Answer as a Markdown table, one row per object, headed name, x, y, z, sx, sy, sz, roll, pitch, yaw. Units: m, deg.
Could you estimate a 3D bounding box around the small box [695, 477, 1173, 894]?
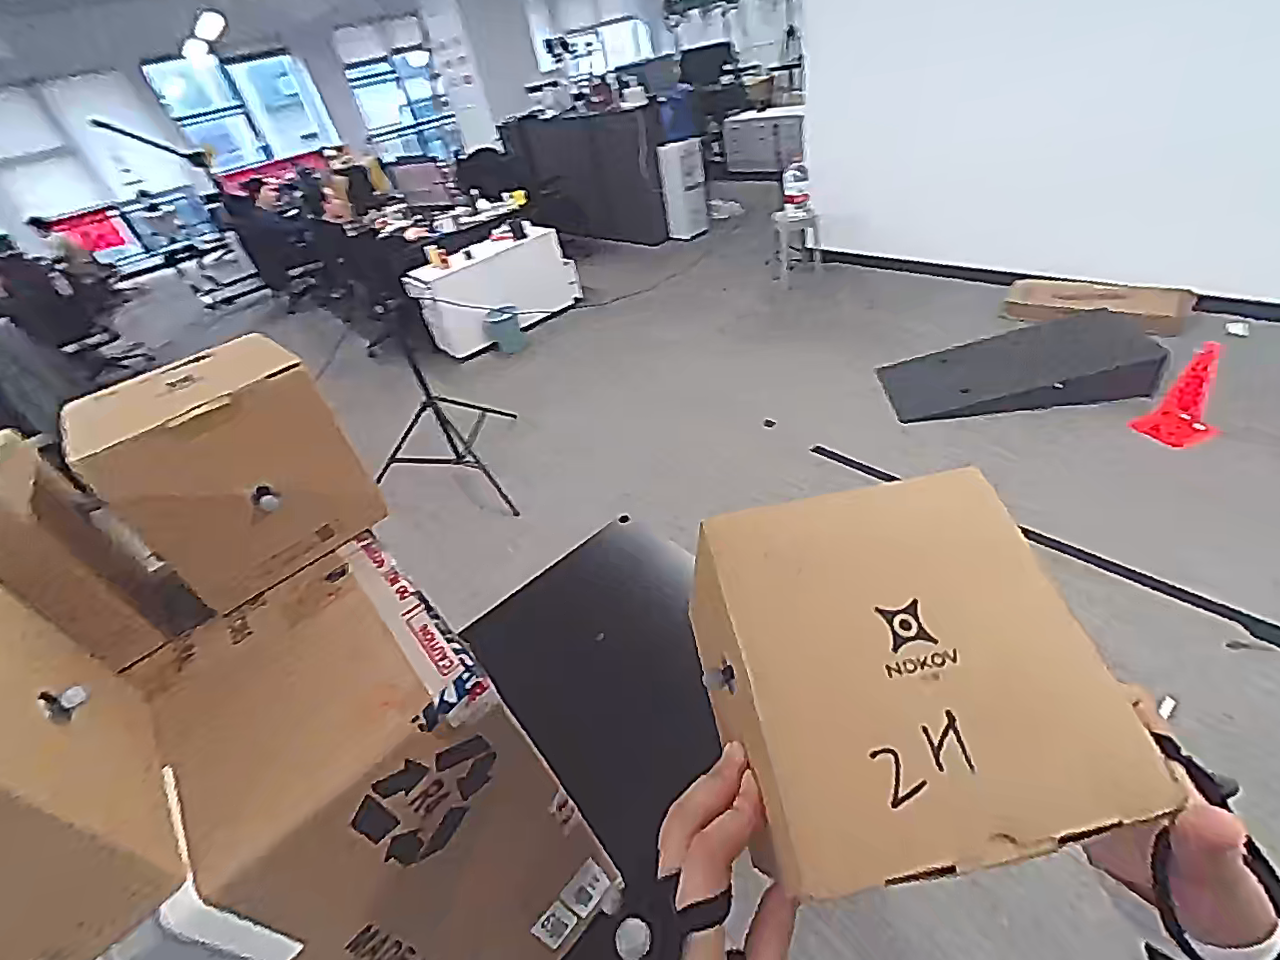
| name | x | y | z | sx | sy | sz | roll | pitch | yaw |
| --- | --- | --- | --- | --- | --- | --- | --- | --- | --- |
| small box | 0.132 | 0.125 | 0.332 | 0.168 | 0.176 | 0.179 | -10 | 58 | -3 |
